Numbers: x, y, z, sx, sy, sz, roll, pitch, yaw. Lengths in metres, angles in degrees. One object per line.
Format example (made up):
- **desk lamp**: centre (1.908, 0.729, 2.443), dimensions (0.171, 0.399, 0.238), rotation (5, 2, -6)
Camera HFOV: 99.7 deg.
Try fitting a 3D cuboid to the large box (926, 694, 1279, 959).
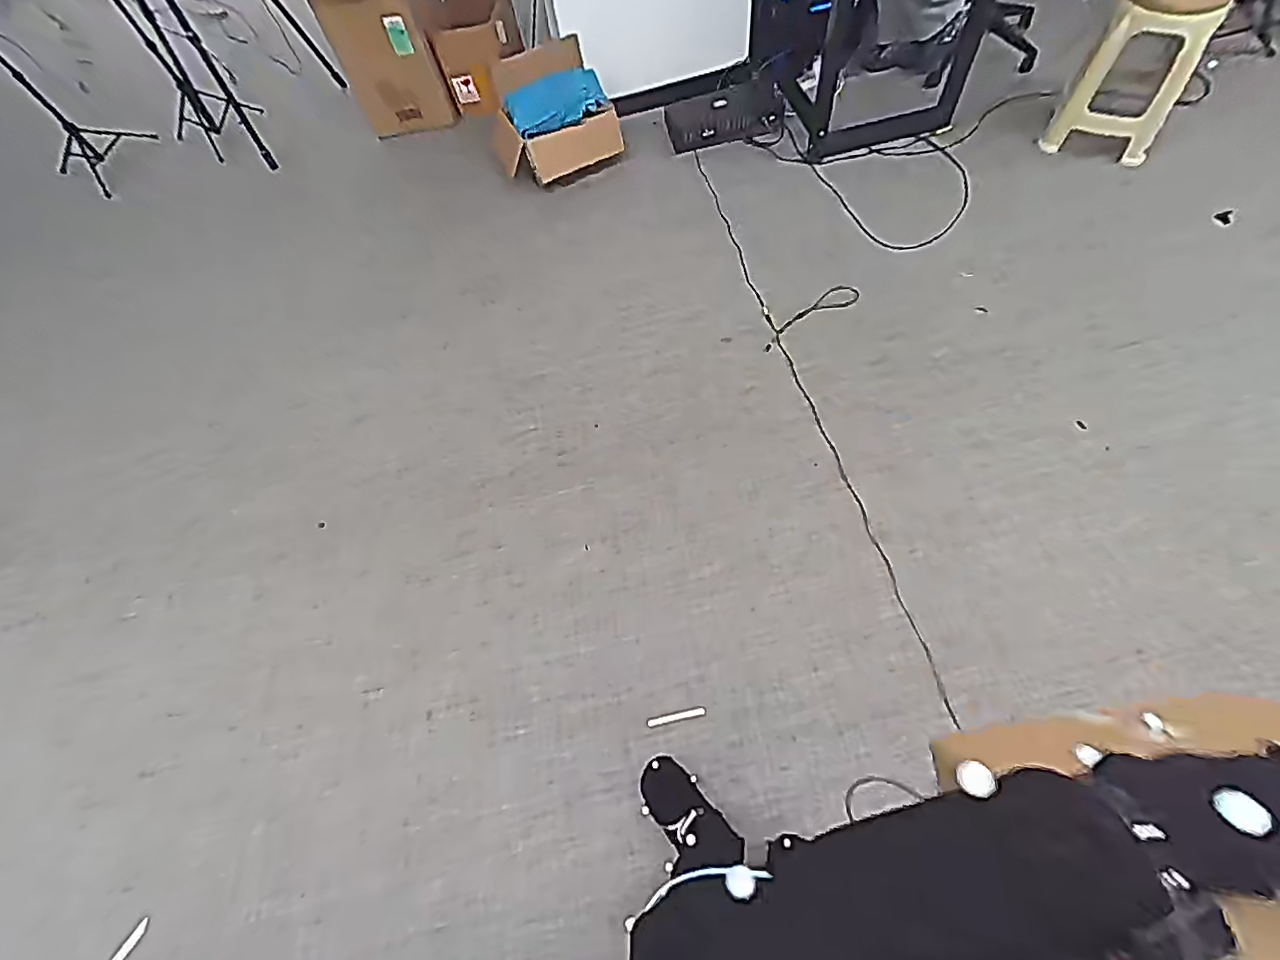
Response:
- **large box**: centre (0.482, 0.426, 0.414), dimensions (0.320, 0.320, 0.408), rotation (-12, 80, 7)
